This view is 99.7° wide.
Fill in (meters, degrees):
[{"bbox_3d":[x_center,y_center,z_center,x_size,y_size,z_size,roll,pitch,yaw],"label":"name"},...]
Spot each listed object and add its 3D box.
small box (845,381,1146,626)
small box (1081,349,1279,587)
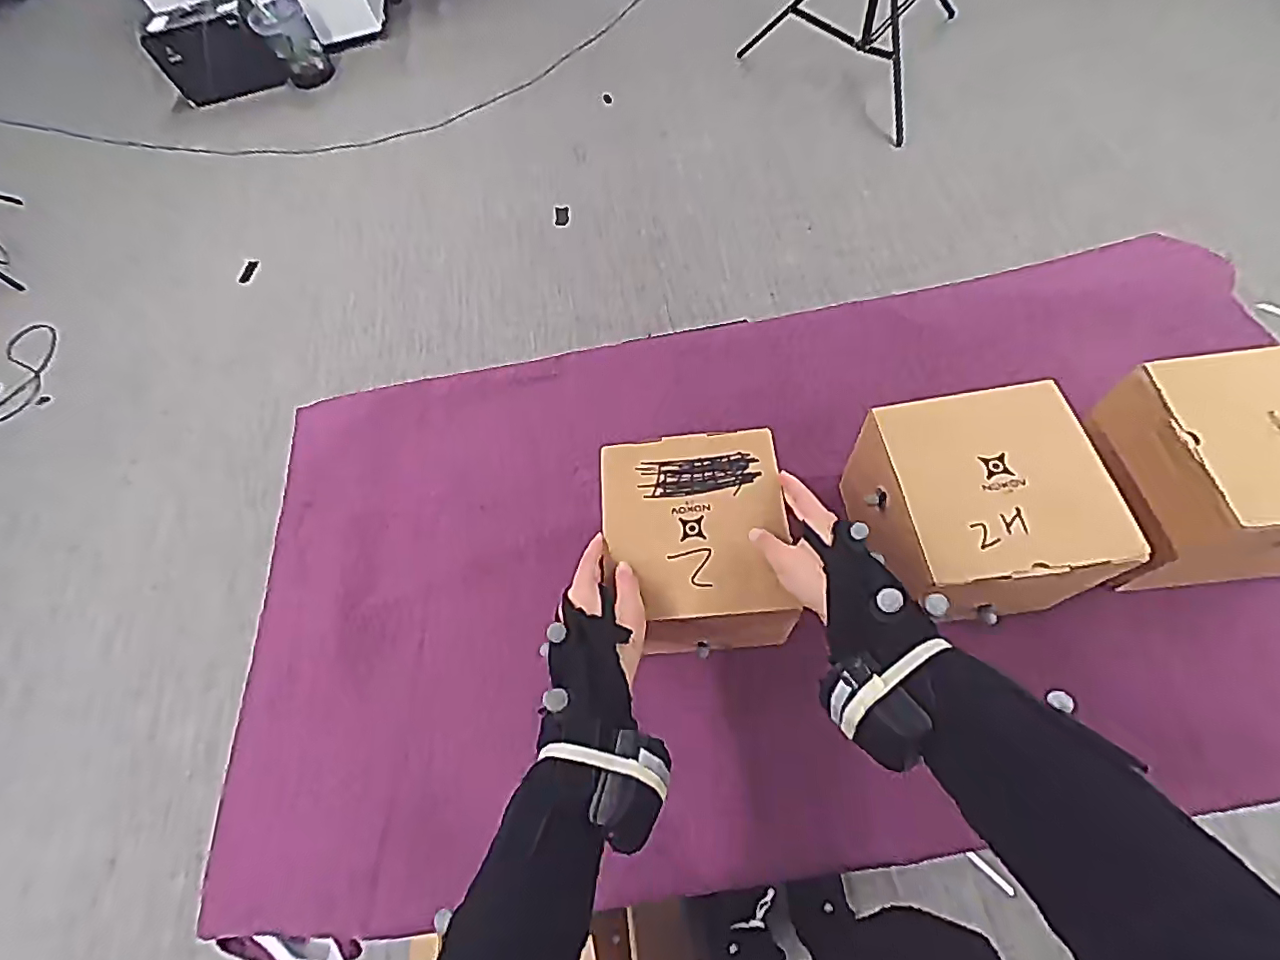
[{"bbox_3d":[0.317,0.032,0.534,0.168,0.176,0.179,-9,62,6],"label":"small box"},{"bbox_3d":[0.554,-0.004,0.517,0.179,0.176,0.168,-7,61,6],"label":"small box"}]
